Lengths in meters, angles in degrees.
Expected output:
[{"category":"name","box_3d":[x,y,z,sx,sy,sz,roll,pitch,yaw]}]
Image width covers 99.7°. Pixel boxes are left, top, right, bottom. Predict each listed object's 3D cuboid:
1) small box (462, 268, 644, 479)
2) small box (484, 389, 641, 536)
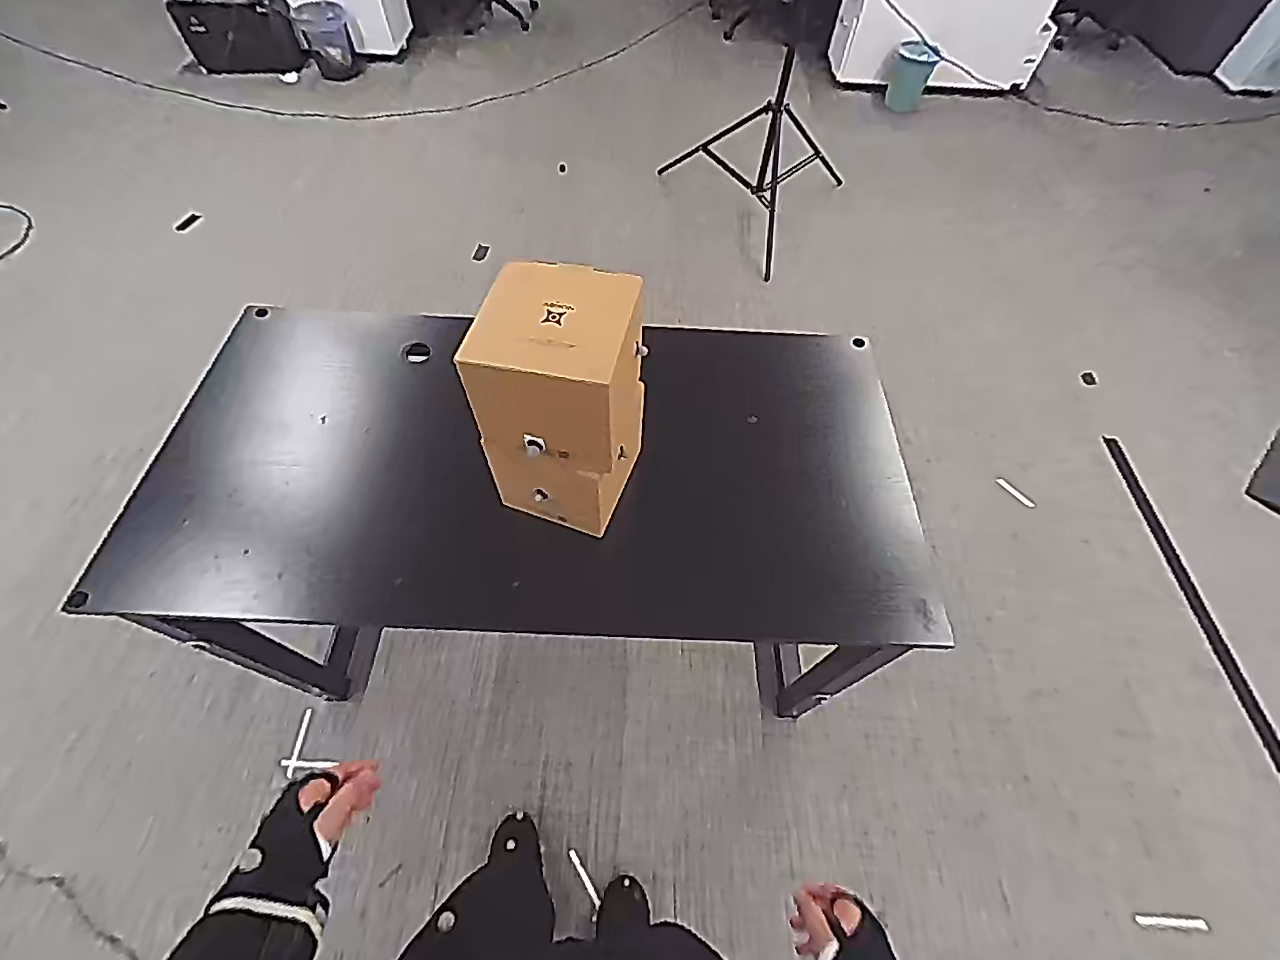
[{"category":"small box","box_3d":[-0.093,-0.127,0.666,0.168,0.176,0.179,9,58,5]},{"category":"small box","box_3d":[-0.103,-0.041,0.804,0.168,0.176,0.179,18,58,9]}]
